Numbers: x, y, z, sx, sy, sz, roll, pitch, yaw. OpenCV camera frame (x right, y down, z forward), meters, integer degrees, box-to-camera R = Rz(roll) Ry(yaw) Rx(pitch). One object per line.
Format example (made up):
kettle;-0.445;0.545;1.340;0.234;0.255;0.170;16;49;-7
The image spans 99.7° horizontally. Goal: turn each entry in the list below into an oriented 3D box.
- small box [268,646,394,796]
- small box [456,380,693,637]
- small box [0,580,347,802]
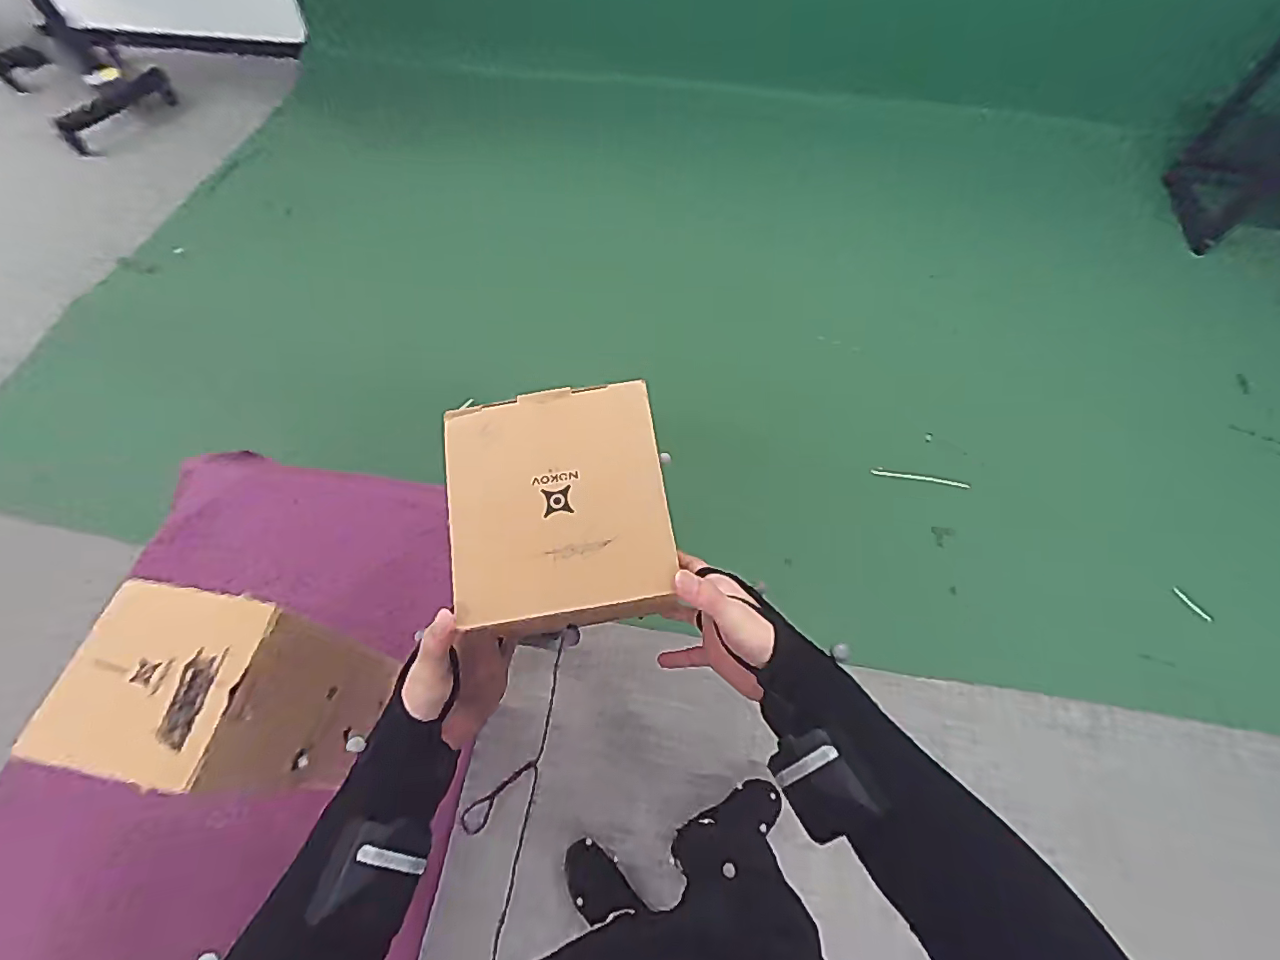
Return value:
small box;-0.453;0.301;0.701;0.179;0.176;0.168;5;60;5
small box;-0.053;0.036;0.476;0.168;0.176;0.179;-8;72;-1
small box;-0.446;0.219;0.558;0.179;0.176;0.168;8;60;7
